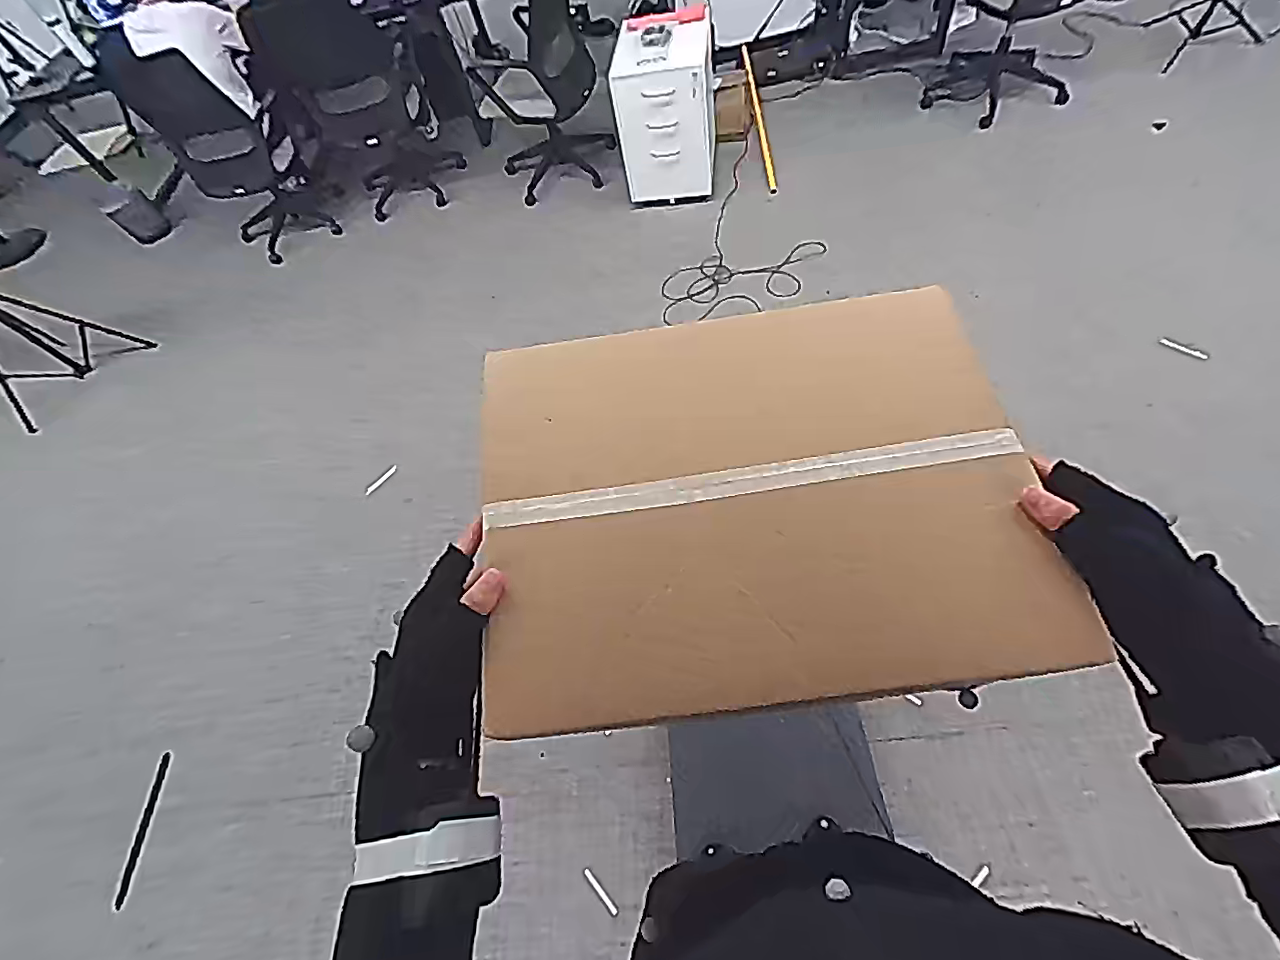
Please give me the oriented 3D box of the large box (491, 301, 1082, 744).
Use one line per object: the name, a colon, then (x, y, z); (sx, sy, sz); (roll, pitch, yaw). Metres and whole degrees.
large box: (0.096, 0.069, 0.558); (0.408, 0.320, 0.320); (-9, 65, 3)
